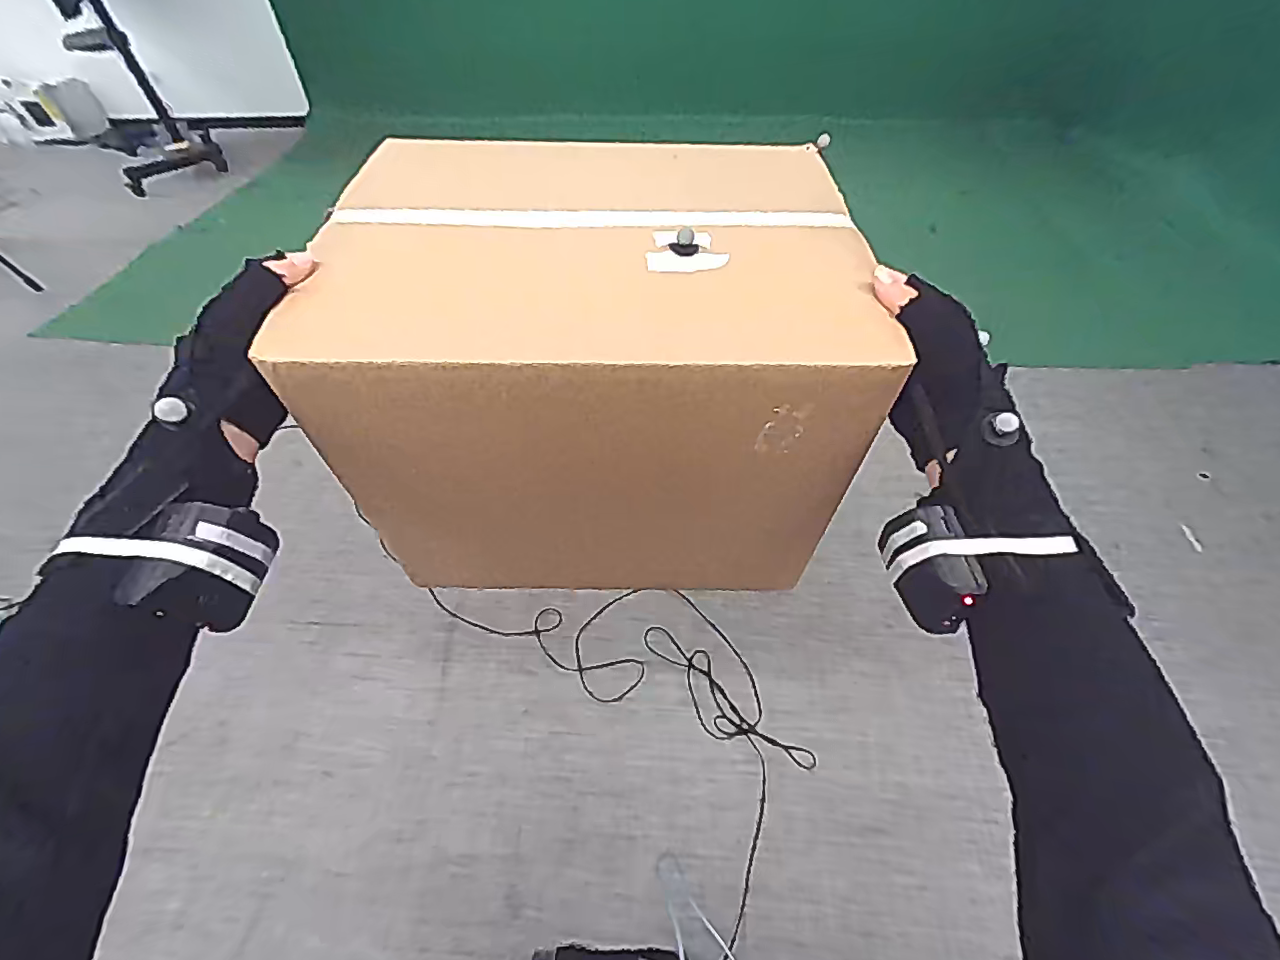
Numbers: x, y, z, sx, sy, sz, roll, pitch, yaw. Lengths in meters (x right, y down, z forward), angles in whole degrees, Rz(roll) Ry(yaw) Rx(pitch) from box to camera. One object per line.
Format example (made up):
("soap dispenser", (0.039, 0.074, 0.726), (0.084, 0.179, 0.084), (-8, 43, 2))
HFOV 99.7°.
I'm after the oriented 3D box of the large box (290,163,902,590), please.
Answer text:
("large box", (-0.033, -0.094, 0.553), (0.408, 0.320, 0.320), (1, 53, -2))
